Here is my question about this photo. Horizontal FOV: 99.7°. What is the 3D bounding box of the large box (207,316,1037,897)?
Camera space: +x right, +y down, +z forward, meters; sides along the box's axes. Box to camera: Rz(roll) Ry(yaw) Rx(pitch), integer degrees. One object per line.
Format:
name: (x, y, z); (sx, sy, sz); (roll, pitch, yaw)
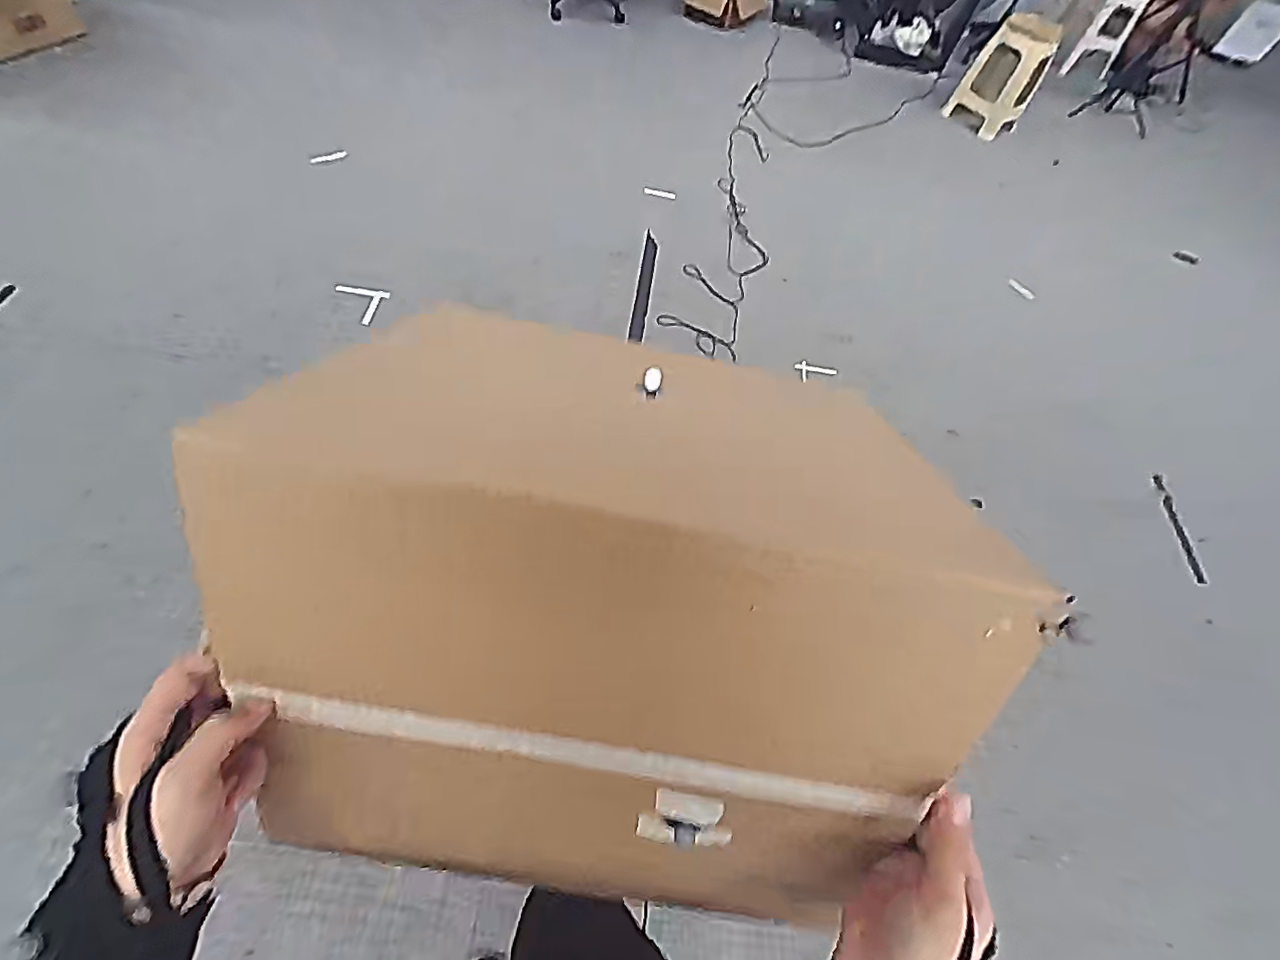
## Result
large box: (-0.023, 0.075, 0.452); (0.408, 0.320, 0.320); (10, 29, -3)
